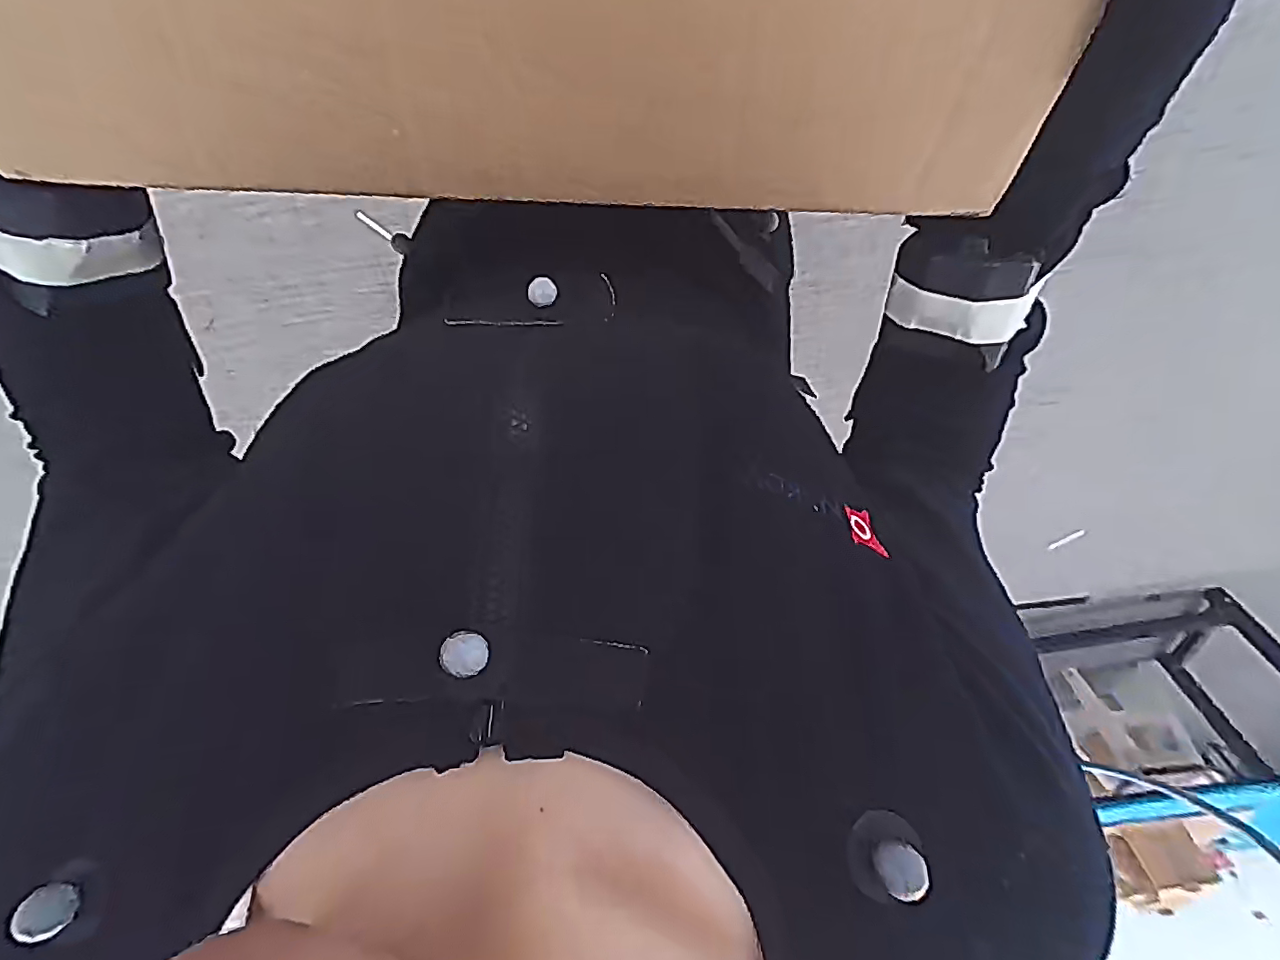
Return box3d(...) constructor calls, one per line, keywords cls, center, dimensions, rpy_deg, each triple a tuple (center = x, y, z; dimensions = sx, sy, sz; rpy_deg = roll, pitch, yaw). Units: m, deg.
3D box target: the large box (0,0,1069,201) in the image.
box3d(cls="large box", center=(-0.046, -0.337, 0.204), dimensions=(0.408, 0.320, 0.320), rpy_deg=(1, 142, -2))
